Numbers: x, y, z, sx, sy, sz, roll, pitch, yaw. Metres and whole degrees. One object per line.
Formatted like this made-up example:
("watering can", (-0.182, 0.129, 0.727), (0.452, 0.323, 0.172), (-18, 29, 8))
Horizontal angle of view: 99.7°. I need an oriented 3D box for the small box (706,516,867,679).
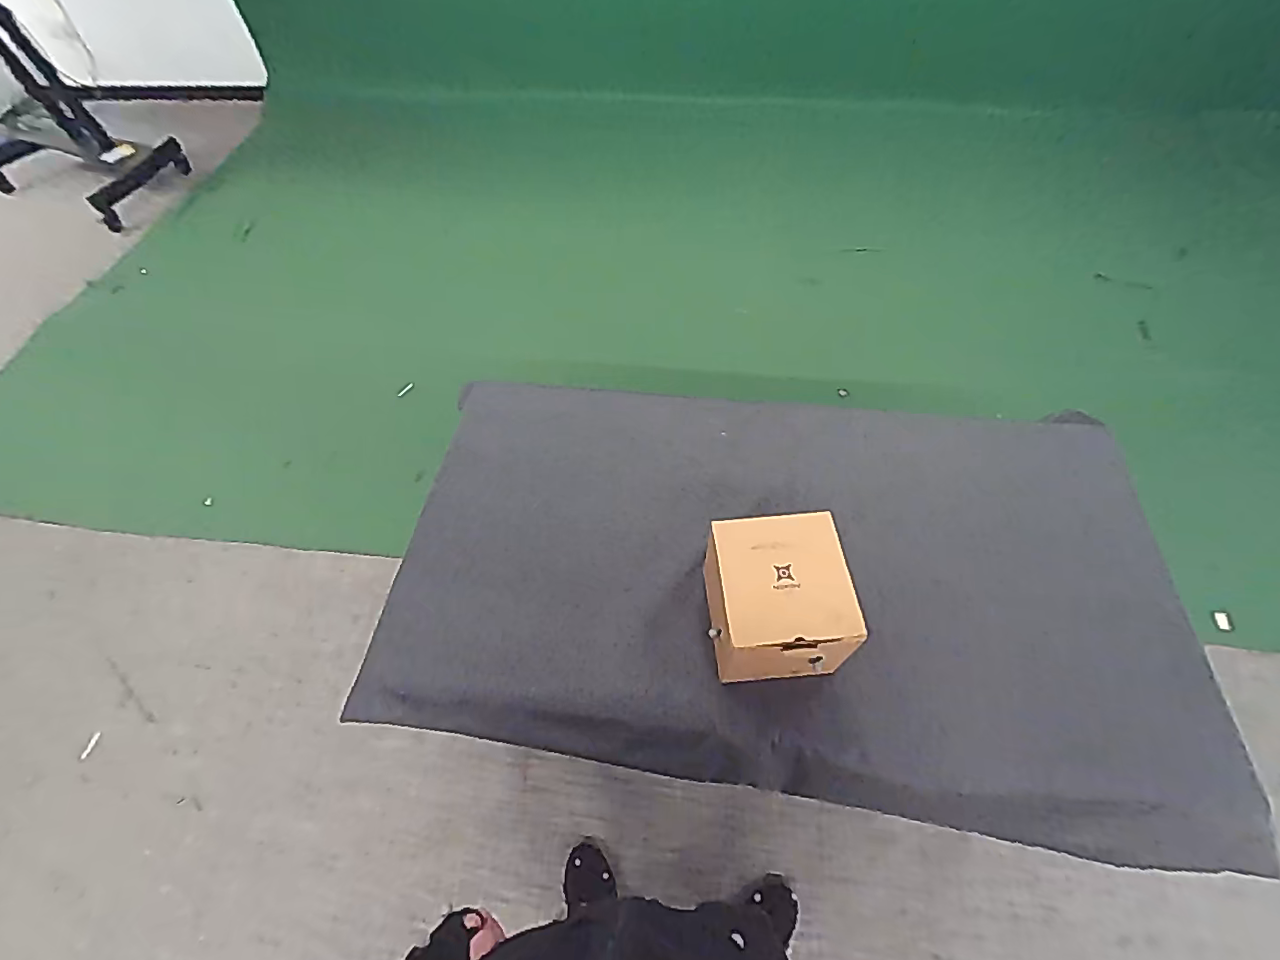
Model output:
("small box", (0.189, 0.171, 0.758), (0.168, 0.176, 0.179), (-5, 56, -2))
